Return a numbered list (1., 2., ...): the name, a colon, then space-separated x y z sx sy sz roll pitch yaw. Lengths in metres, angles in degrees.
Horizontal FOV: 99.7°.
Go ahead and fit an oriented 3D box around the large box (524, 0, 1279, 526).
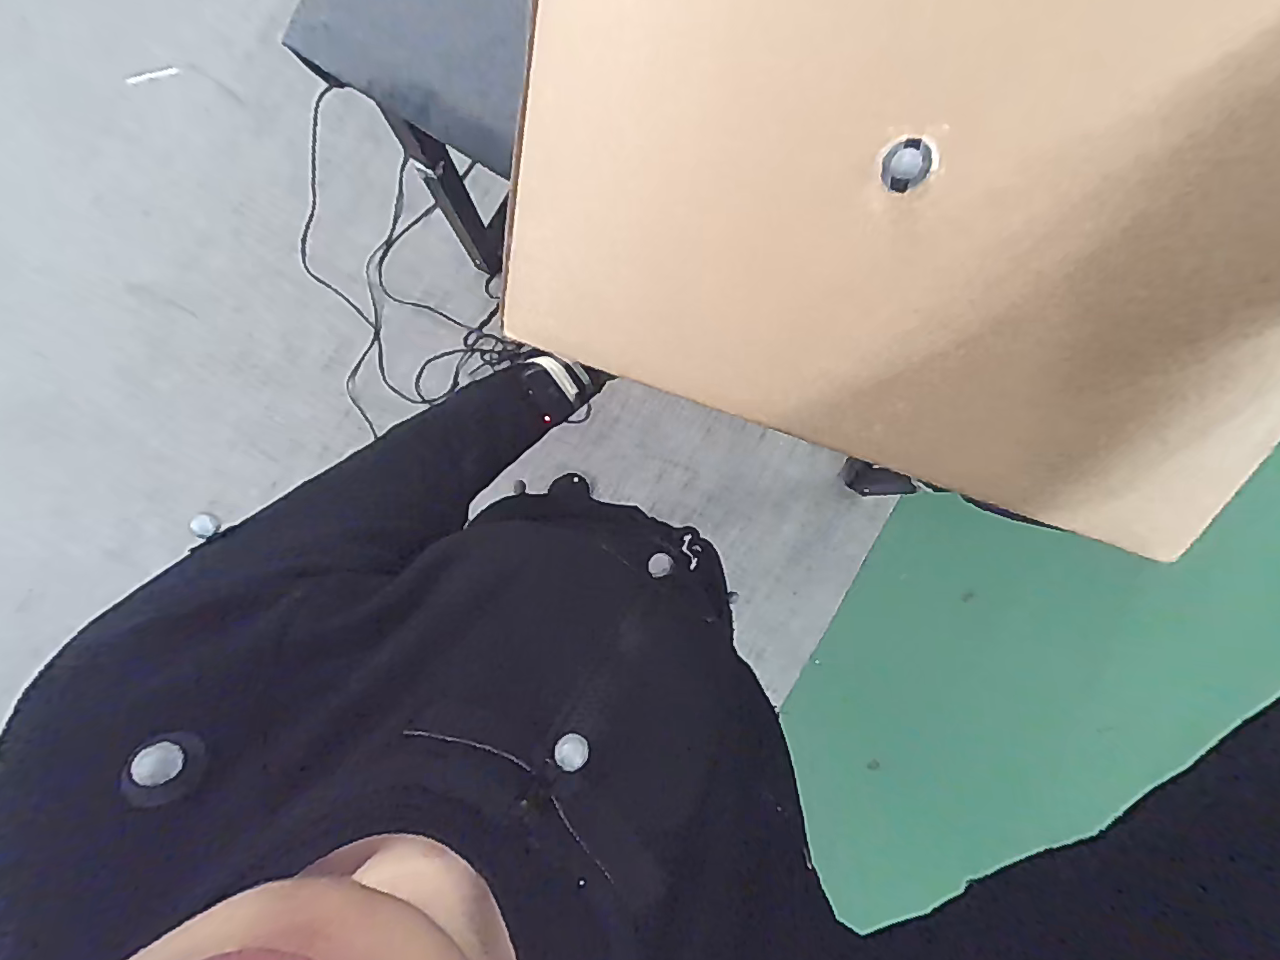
1. large box: 0.177 -0.217 0.388 0.408 0.320 0.320 19 118 10
